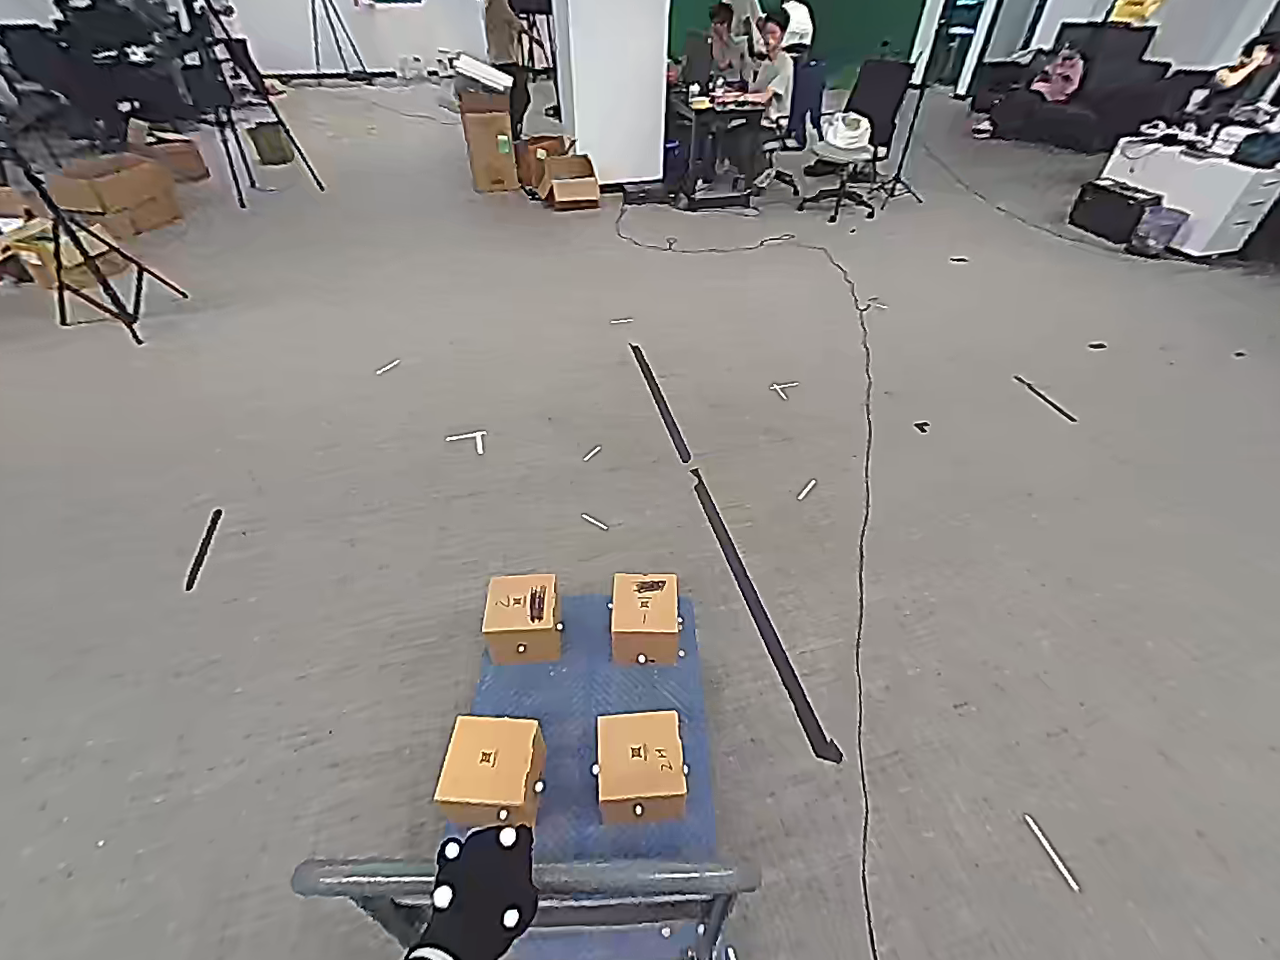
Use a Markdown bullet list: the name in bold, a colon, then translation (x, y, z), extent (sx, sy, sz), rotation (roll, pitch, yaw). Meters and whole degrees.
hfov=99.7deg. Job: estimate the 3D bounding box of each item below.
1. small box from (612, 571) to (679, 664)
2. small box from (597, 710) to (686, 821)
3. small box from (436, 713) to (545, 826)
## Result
- **small box**: translation (0.014, 0.363, 1.427), extent (0.168, 0.176, 0.179), rotation (1, 45, 1)
- **small box**: translation (0.002, 0.615, 1.161), extent (0.179, 0.176, 0.168), rotation (-3, 44, -3)
- **small box**: translation (-0.308, 0.620, 1.155), extent (0.179, 0.176, 0.168), rotation (3, 43, 1)
